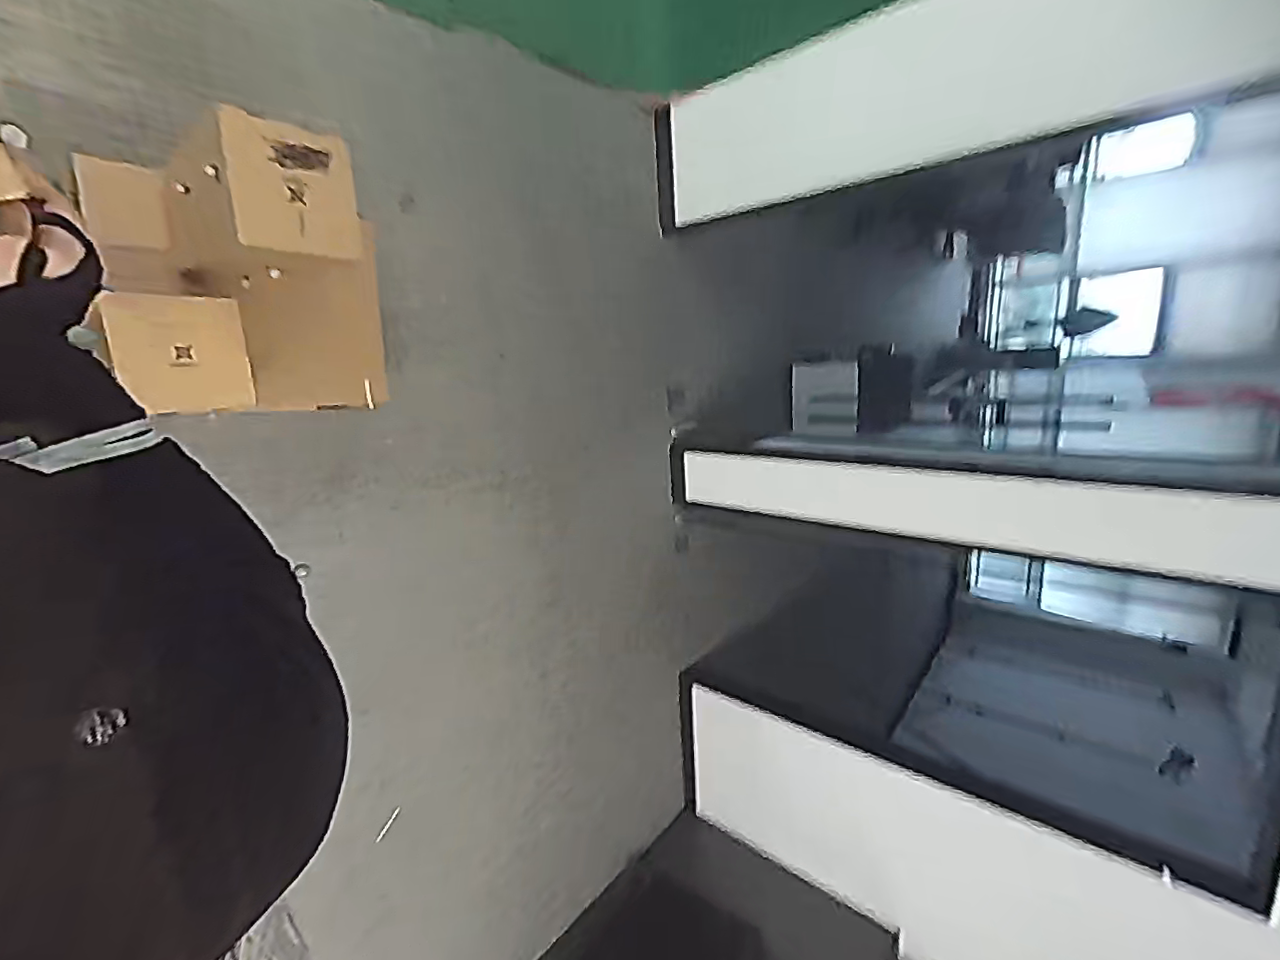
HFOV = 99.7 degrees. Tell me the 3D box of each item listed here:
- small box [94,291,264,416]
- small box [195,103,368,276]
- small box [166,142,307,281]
[{"bbox_3d":[-0.745,-0.202,0.878,0.168,0.176,0.179,-17,109,-49],"label":"small box"},{"bbox_3d":[-0.546,-0.424,0.824,0.168,0.176,0.179,-15,106,-49],"label":"small box"},{"bbox_3d":[-0.672,-0.445,0.930,0.179,0.176,0.168,-15,106,-50],"label":"small box"}]
